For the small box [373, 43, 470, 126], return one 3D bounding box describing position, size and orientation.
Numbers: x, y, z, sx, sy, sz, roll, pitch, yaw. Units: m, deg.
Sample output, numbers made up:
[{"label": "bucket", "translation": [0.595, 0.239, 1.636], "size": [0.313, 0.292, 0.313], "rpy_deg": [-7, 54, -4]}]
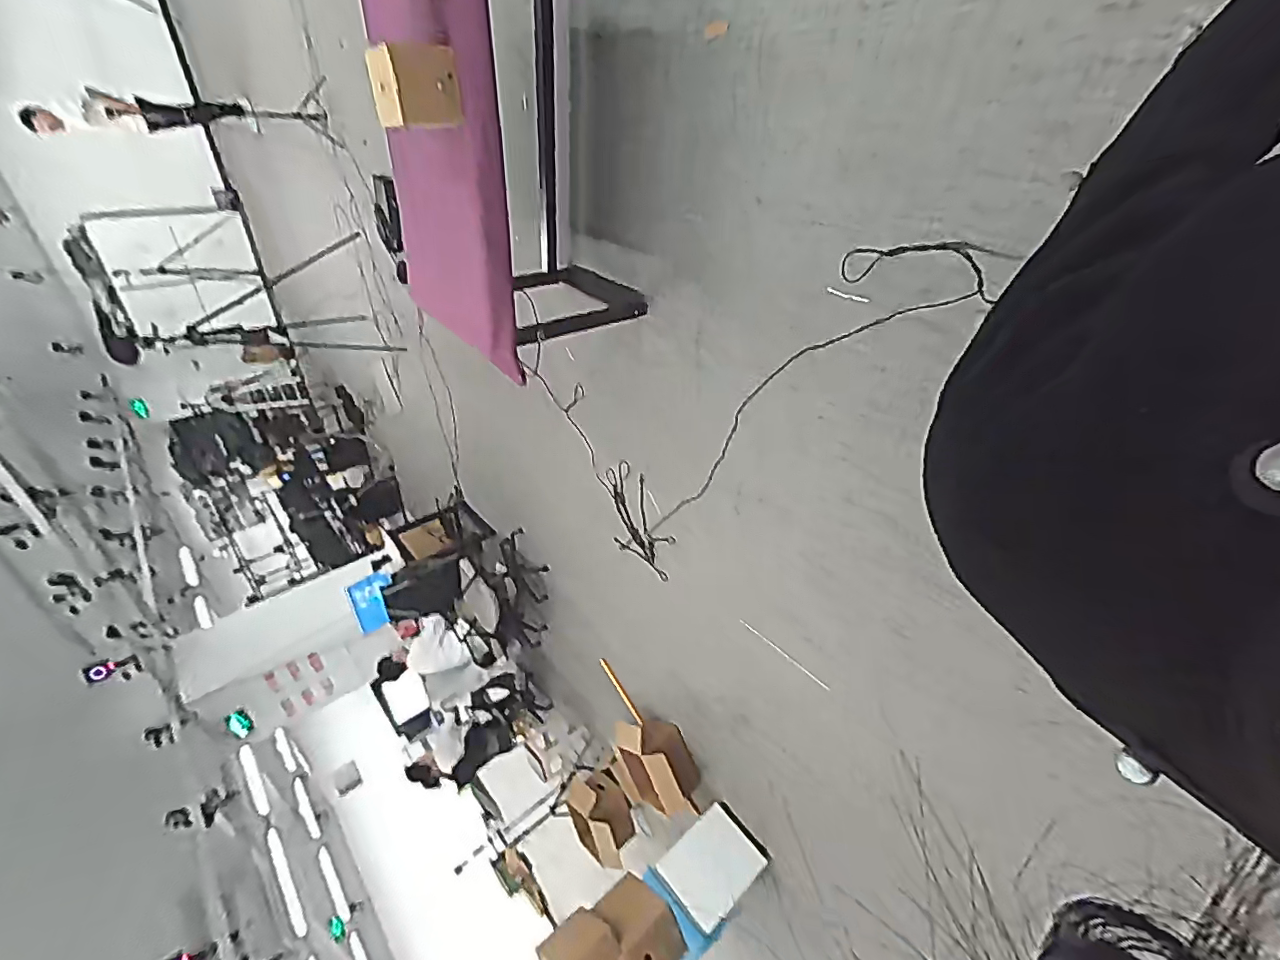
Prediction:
[{"label": "small box", "translation": [-0.571, -1.032, 1.423], "size": [0.179, 0.176, 0.168], "rpy_deg": [31, 135, 41]}]
